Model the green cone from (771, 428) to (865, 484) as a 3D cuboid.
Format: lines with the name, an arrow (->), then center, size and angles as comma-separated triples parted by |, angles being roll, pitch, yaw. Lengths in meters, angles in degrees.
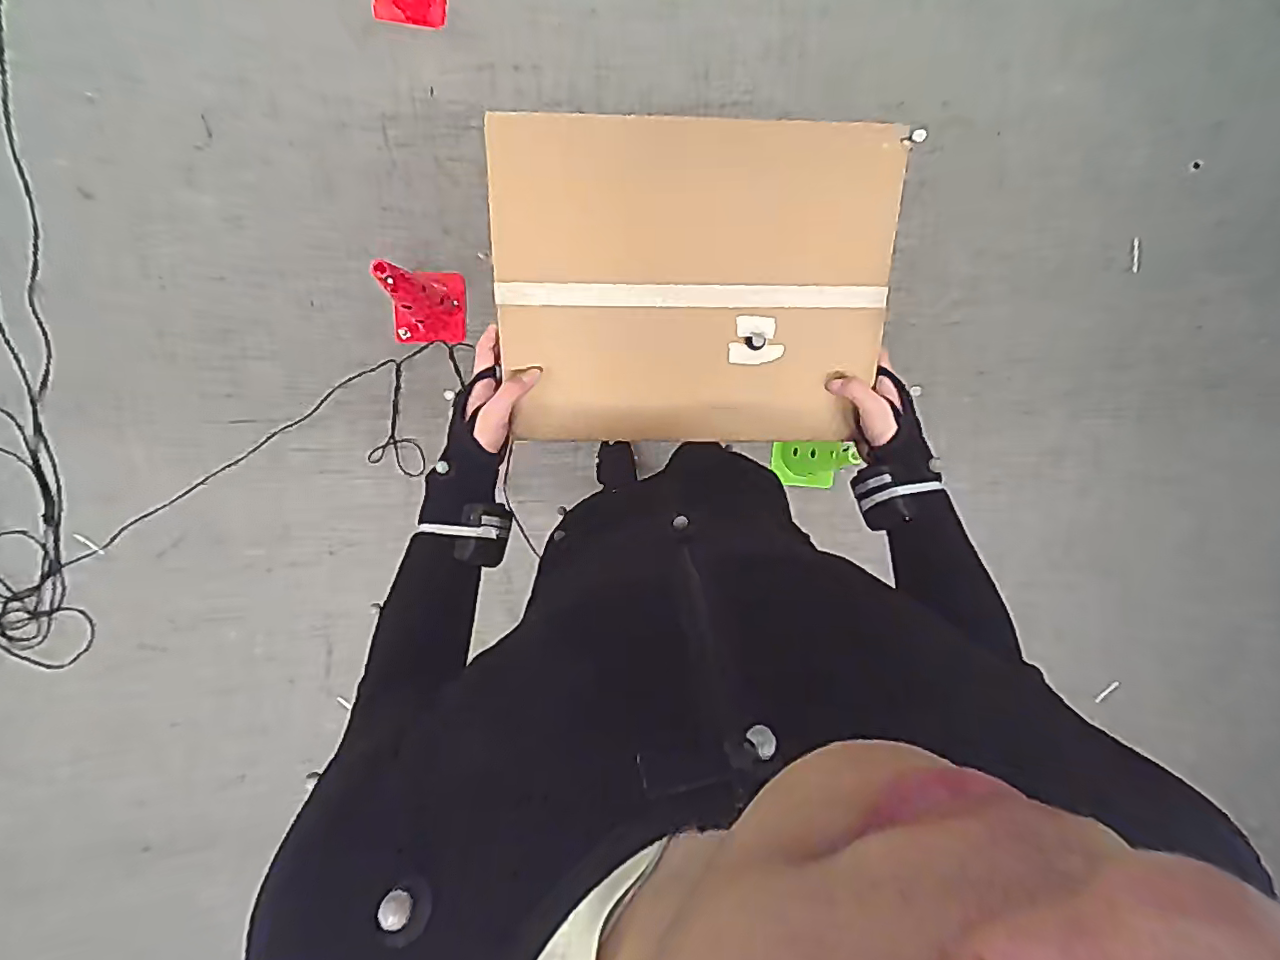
green cone -> 0.517, -0.082, 1.485 | 0.200, 0.368, 0.202 | 4, 93, -5

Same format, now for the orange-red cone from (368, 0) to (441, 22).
orange-red cone -> -0.630, -1.356, 1.309 | 0.199, 0.360, 0.198 | 6, 93, -3

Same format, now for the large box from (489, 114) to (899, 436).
large box -> 0.046, -0.248, 0.704 | 0.408, 0.320, 0.320 | -1, 110, -3
